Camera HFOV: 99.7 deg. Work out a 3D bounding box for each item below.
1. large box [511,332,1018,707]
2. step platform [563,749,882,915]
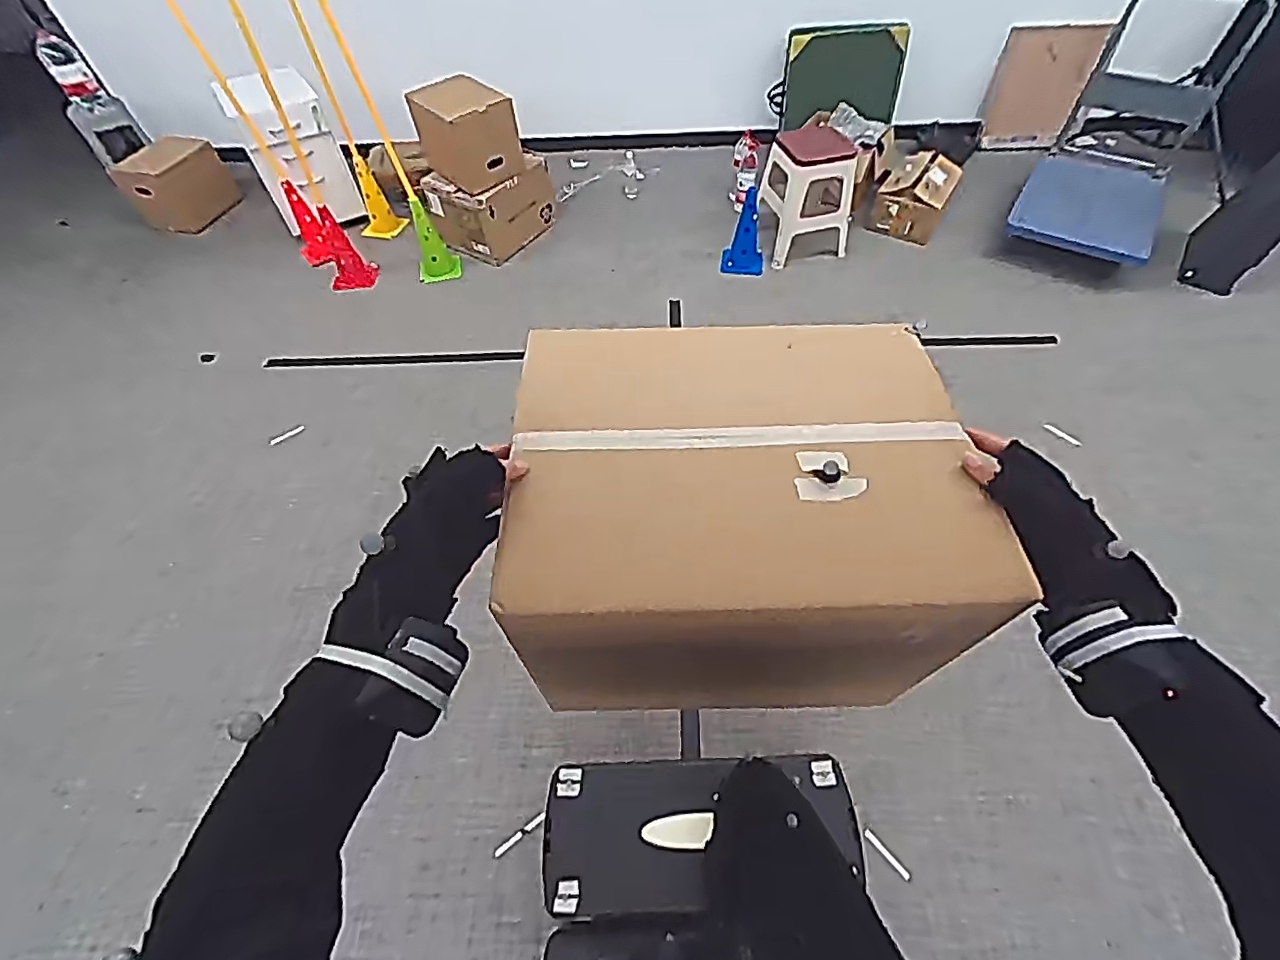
[{"bbox_3d":[0.090,0.056,0.620,0.408,0.320,0.320,-2,55,-1],"label":"large box"},{"bbox_3d":[0.170,0.785,1.222,0.684,0.204,0.286,-3,54,-1],"label":"step platform"}]
